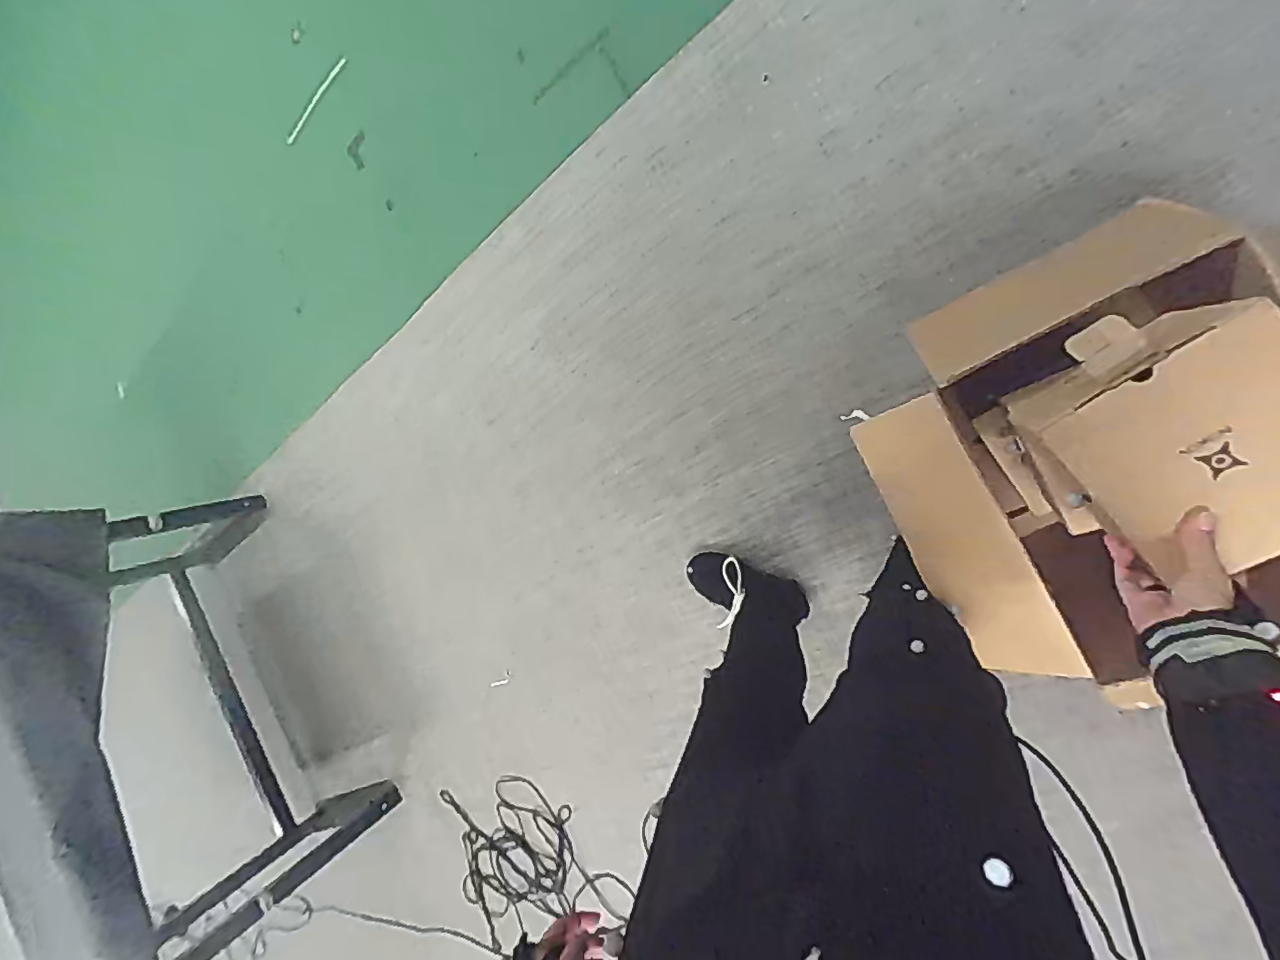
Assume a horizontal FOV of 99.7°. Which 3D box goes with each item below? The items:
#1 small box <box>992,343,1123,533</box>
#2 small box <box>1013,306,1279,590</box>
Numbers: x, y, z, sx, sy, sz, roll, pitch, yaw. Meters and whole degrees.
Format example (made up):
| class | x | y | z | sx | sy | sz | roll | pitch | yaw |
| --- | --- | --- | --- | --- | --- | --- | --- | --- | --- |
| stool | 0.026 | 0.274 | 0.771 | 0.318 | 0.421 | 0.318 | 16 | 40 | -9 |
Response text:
| class | x | y | z | sx | sy | sz | roll | pitch | yaw |
| --- | --- | --- | --- | --- | --- | --- | --- | --- | --- |
| small box | 0.553 | -0.059 | 0.643 | 0.179 | 0.176 | 0.168 | -25 | 89 | 30 |
| small box | 0.486 | -0.034 | 0.498 | 0.168 | 0.176 | 0.179 | -40 | 81 | 28 |
